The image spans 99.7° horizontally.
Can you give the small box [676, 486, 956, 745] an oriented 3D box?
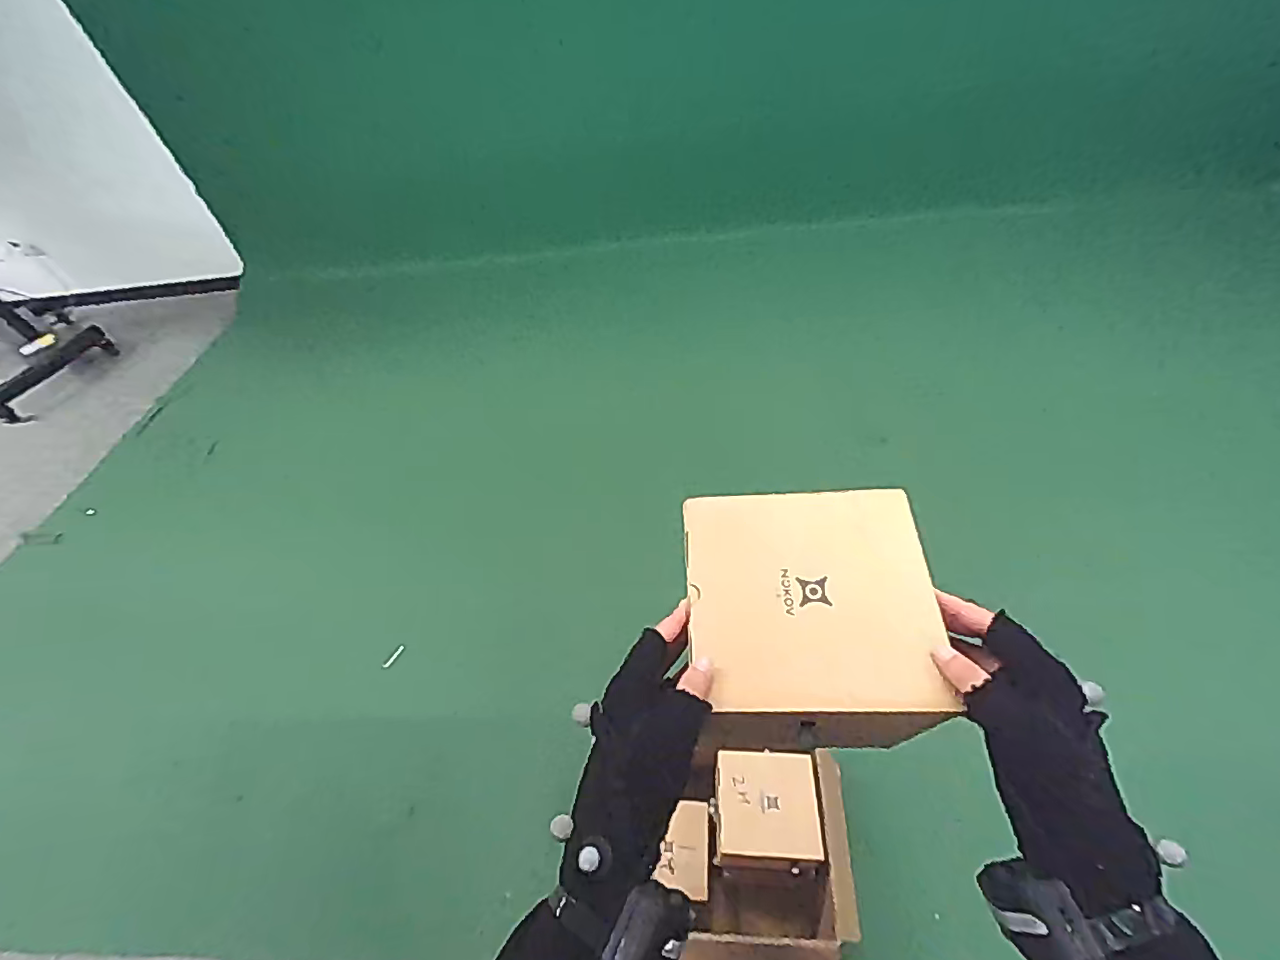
[{"bbox_3d":[0.123,0.120,0.453,0.179,0.176,0.168,-4,57,7],"label":"small box"}]
